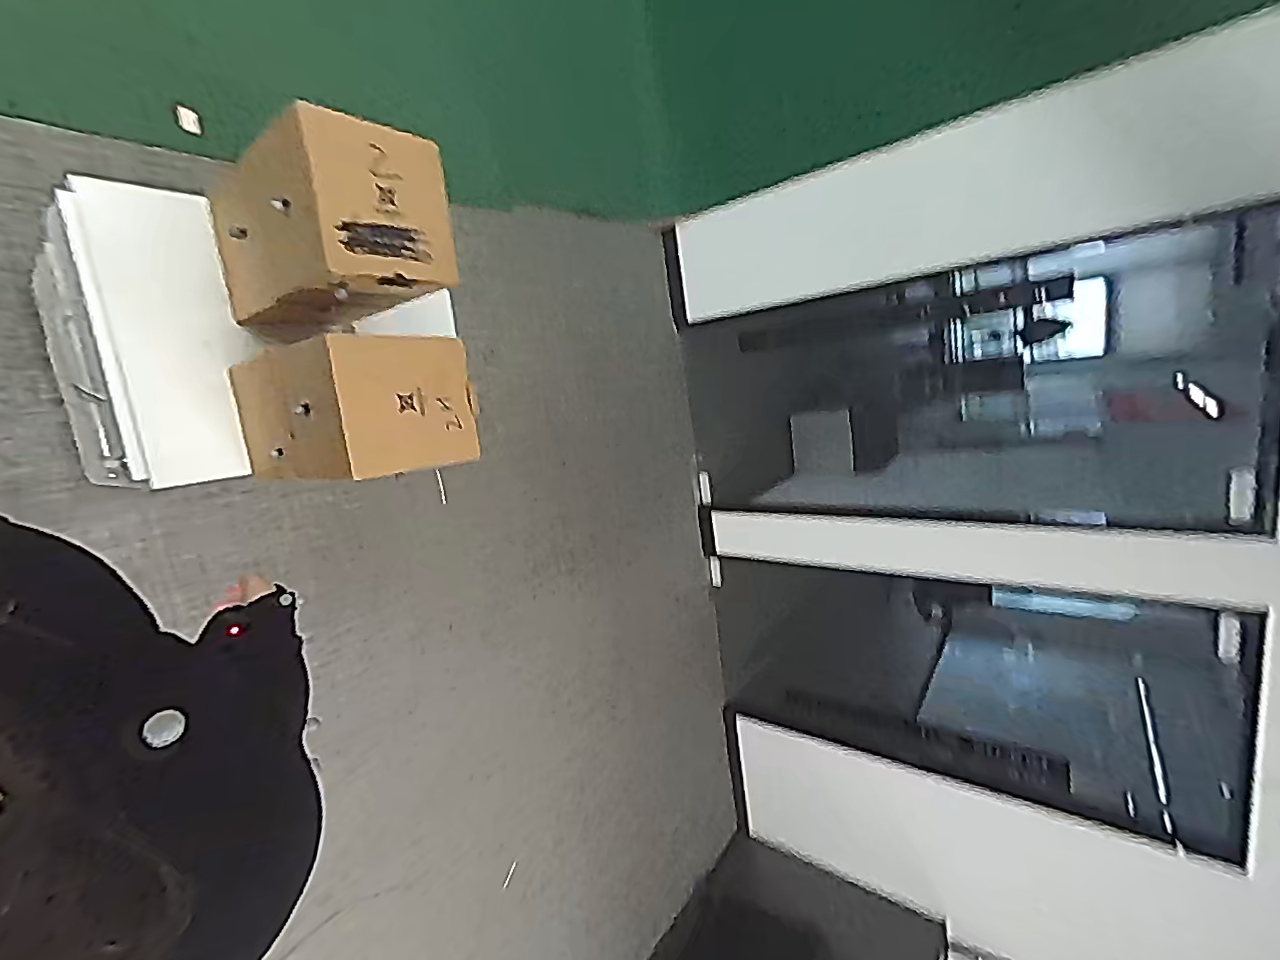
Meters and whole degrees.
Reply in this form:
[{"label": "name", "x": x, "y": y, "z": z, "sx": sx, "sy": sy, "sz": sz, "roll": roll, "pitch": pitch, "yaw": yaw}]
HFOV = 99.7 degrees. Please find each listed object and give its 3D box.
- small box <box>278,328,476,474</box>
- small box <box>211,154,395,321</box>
[{"label": "small box", "x": -0.347, "y": -0.099, "z": 0.711, "sx": 0.179, "sy": 0.176, "sz": 0.168, "roll": -16, "pitch": 104, "yaw": -51}, {"label": "small box", "x": -0.490, "y": -0.335, "z": 0.788, "sx": 0.168, "sy": 0.176, "sz": 0.179, "roll": -18, "pitch": 107, "yaw": -50}]
